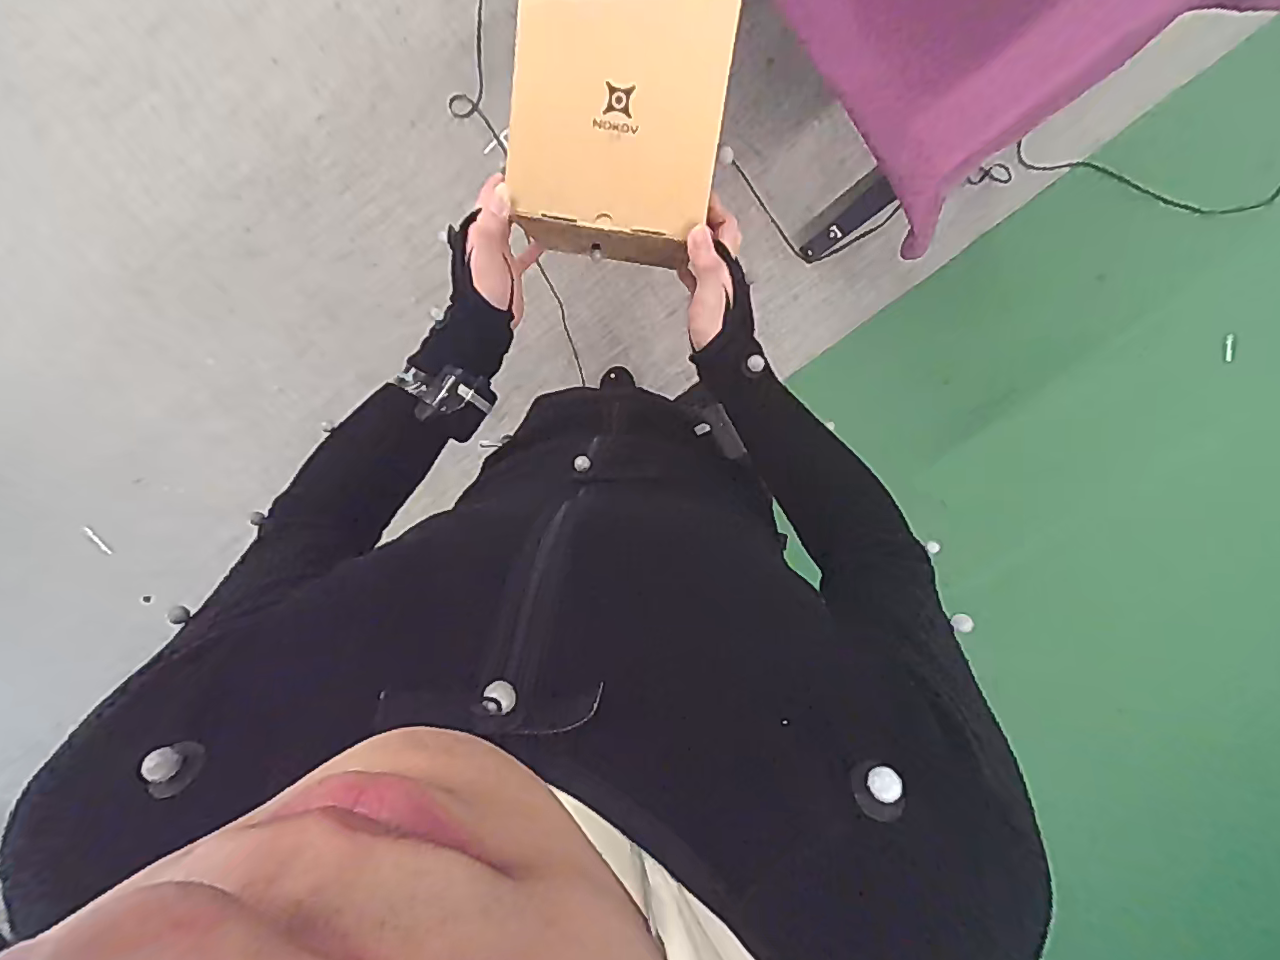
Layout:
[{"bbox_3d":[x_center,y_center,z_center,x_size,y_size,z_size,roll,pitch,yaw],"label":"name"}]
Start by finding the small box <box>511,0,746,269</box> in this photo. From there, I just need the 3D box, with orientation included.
[{"bbox_3d":[-0.014,-0.305,0.496,0.168,0.176,0.179,7,105,-3],"label":"small box"}]
